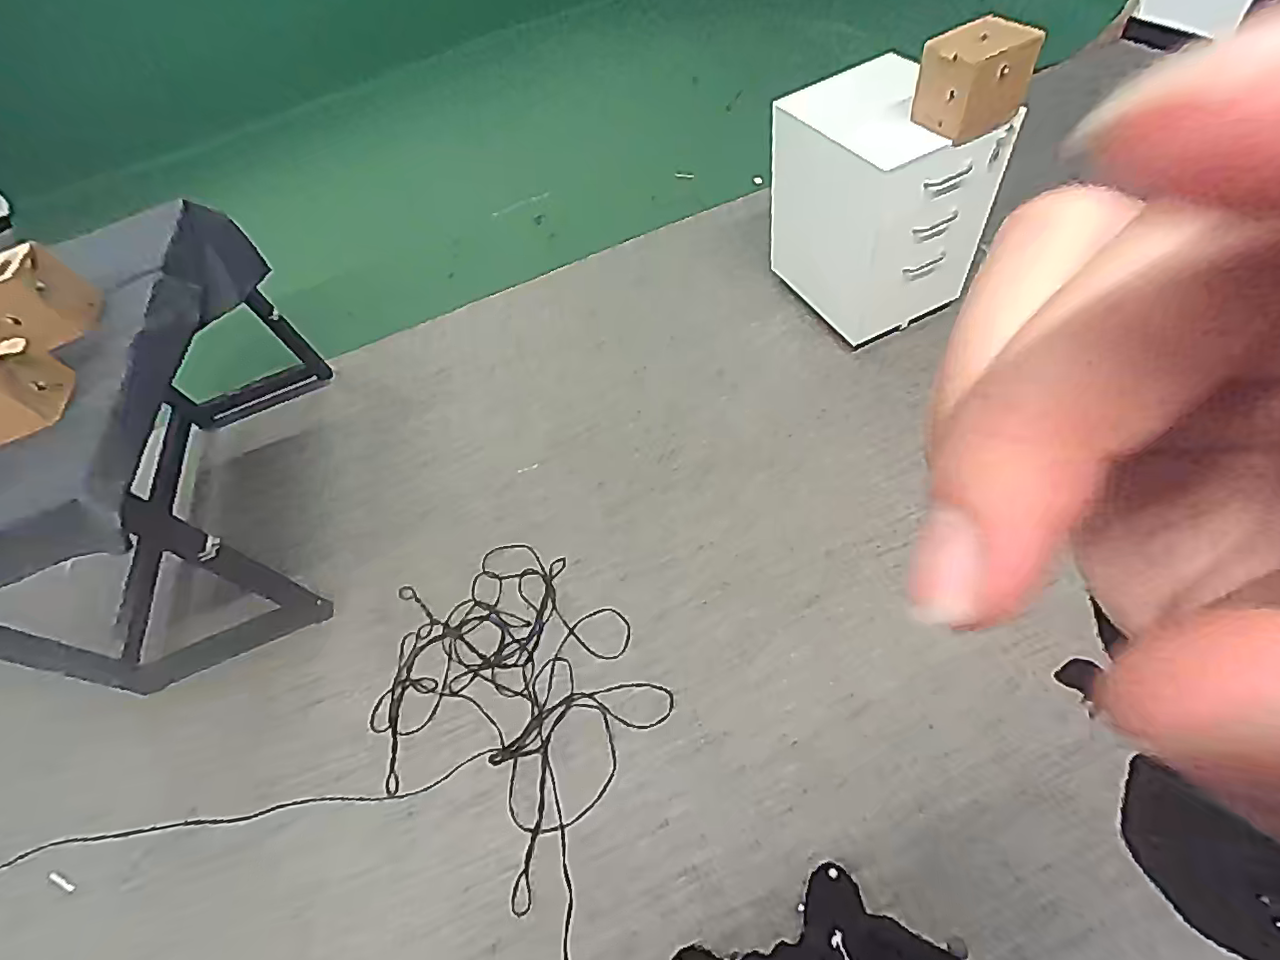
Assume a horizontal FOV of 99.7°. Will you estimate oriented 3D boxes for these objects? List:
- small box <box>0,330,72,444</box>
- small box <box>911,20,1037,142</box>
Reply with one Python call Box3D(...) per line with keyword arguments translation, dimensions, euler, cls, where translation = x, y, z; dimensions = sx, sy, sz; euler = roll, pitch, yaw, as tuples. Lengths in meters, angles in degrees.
Box3D(translation=(-1.338, -0.180, 1.094), dimensions=(0.179, 0.176, 0.168), euler=(-23, 54, -3), cls="small box")
Box3D(translation=(0.767, -0.931, 1.270), dimensions=(0.179, 0.176, 0.168), euler=(-25, 55, -5), cls="small box")
